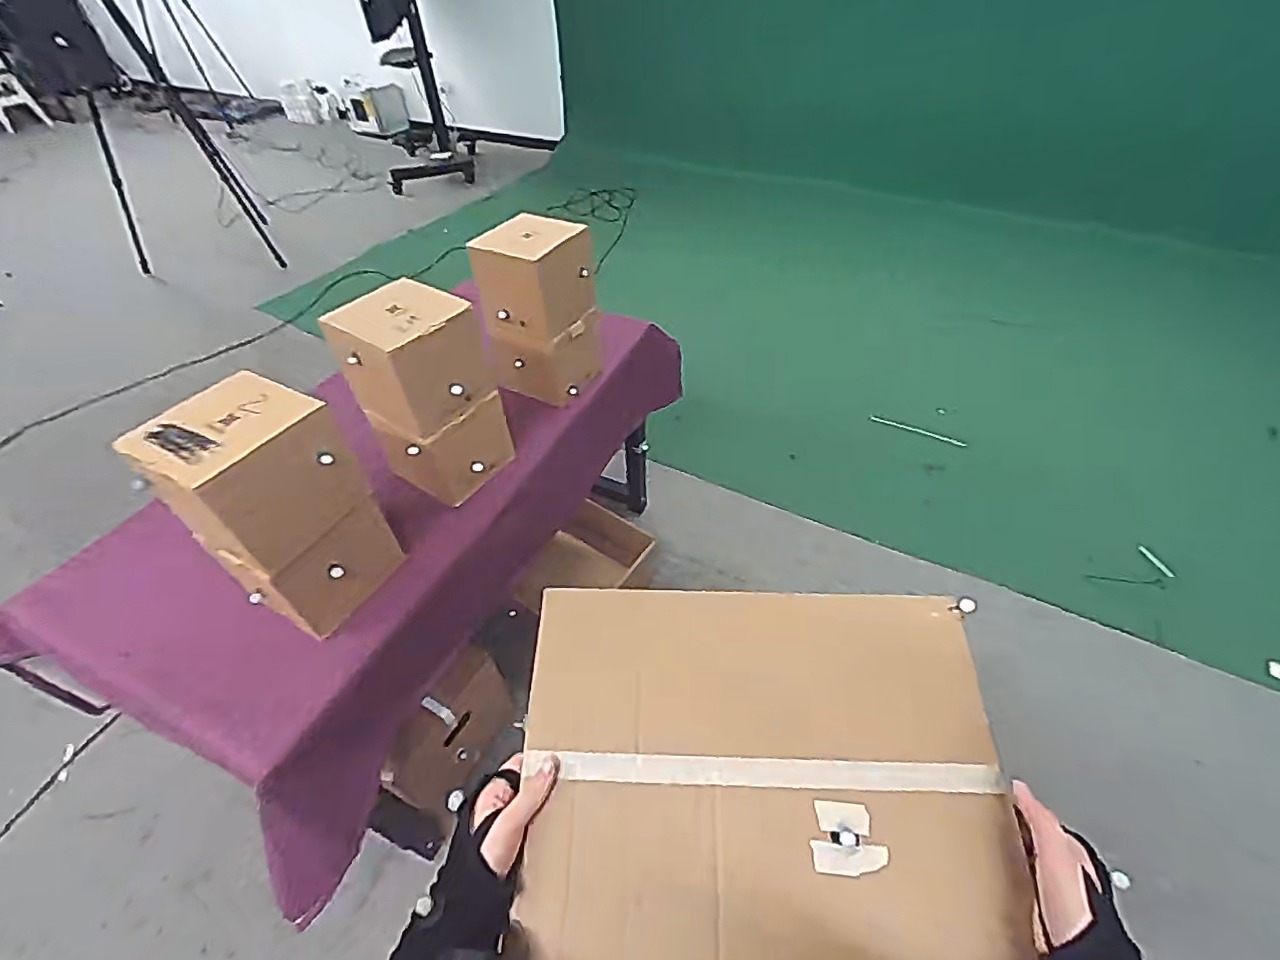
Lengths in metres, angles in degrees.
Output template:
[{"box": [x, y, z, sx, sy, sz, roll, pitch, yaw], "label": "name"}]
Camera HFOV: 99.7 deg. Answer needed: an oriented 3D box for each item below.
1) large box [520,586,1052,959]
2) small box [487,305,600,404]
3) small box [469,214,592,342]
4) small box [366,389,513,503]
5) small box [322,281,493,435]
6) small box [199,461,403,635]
[{"box": [0.113, 0.315, 0.597, 0.408, 0.320, 0.320, 1, 62, 3], "label": "large box"}, {"box": [-0.204, -0.291, 1.201, 0.179, 0.176, 0.168, 21, 51, 21], "label": "small box"}, {"box": [-0.208, -0.406, 1.085, 0.168, 0.176, 0.179, 21, 52, 22], "label": "small box"}, {"box": [-0.366, -0.085, 1.015, 0.179, 0.176, 0.168, 25, 53, 23], "label": "small box"}, {"box": [-0.376, -0.201, 0.899, 0.179, 0.176, 0.168, 27, 53, 23], "label": "small box"}, {"box": [-0.505, 0.108, 0.835, 0.168, 0.176, 0.179, 22, 52, 20], "label": "small box"}]
